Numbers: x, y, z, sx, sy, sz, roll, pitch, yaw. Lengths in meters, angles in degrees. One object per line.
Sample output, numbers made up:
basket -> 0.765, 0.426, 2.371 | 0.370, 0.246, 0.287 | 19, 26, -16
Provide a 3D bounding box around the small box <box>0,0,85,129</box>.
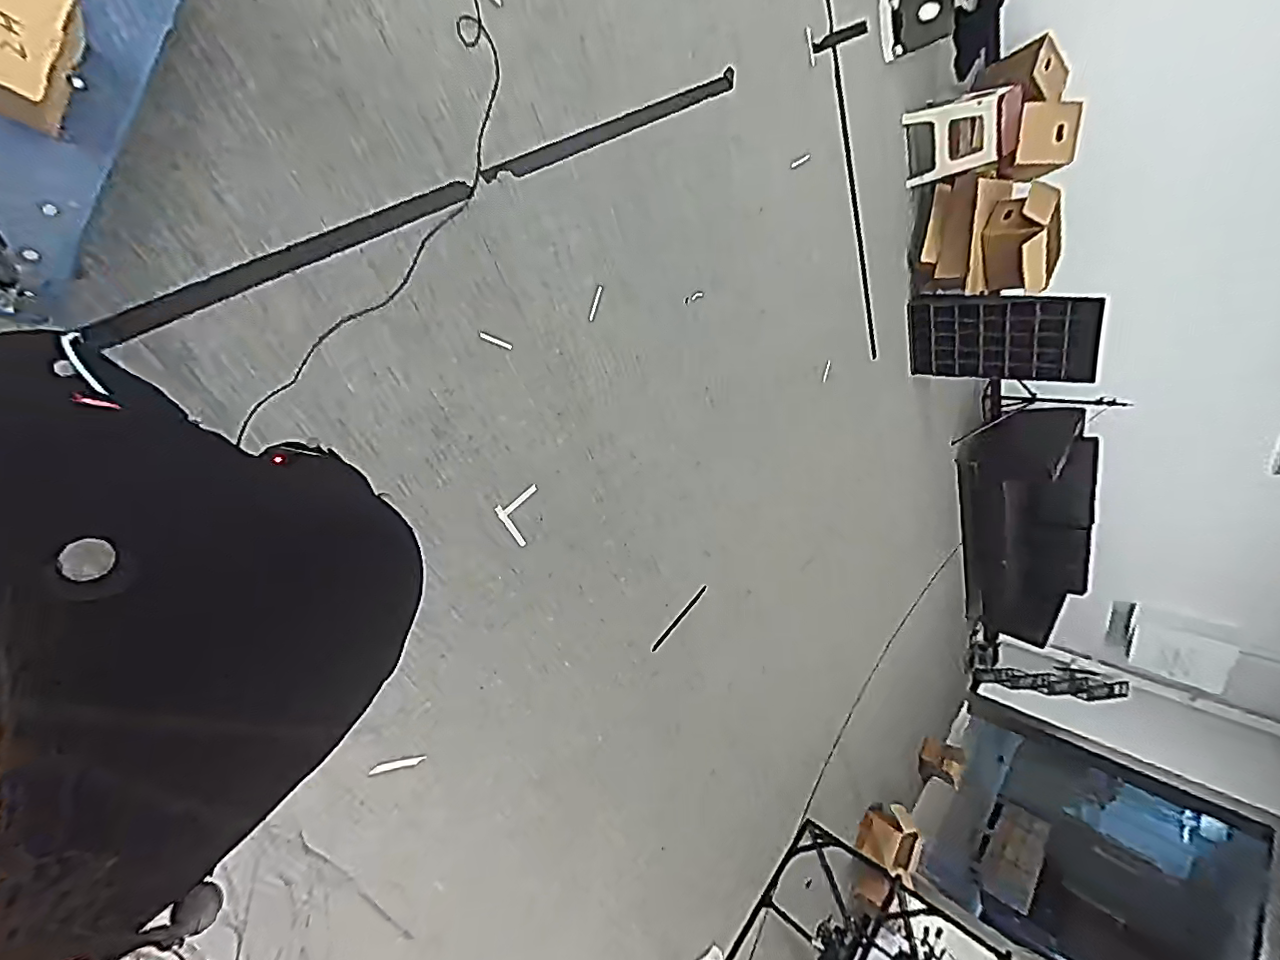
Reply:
small box -> -0.901, -0.620, 0.733 | 0.179, 0.176, 0.168 | 18, 88, -44
